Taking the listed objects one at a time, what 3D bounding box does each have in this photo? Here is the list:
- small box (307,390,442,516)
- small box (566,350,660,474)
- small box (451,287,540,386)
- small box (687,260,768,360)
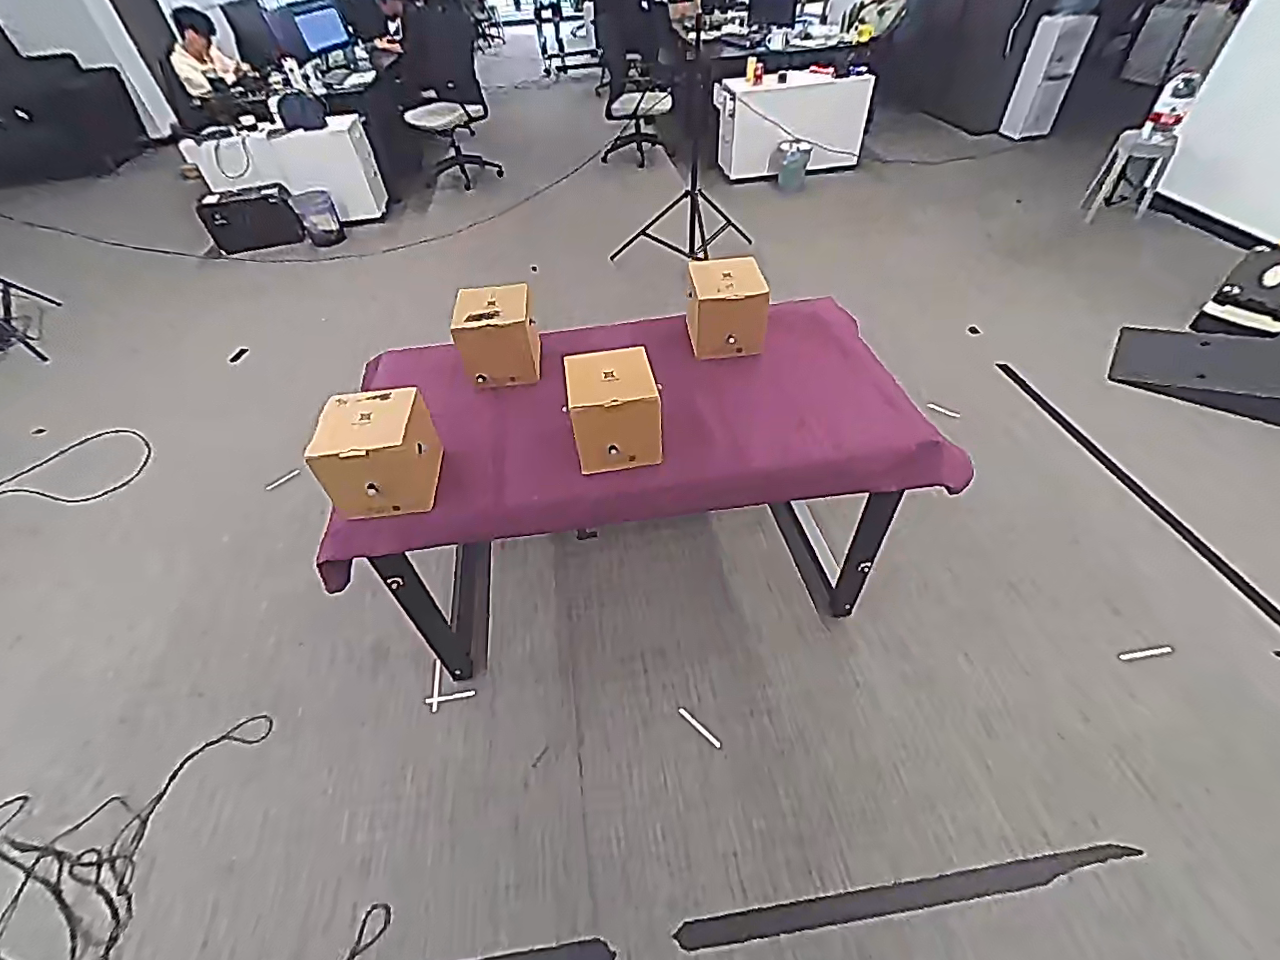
[{"bbox_3d":[-0.490,-0.046,1.031,0.168,0.176,0.179,-7,46,-3],"label":"small box"},{"bbox_3d":[-0.055,-0.137,1.092,0.168,0.176,0.179,-9,46,-5],"label":"small box"},{"bbox_3d":[-0.337,-0.338,1.298,0.168,0.176,0.179,-6,47,-2],"label":"small box"},{"bbox_3d":[0.206,-0.418,1.333,0.168,0.176,0.179,-6,49,-1],"label":"small box"}]
